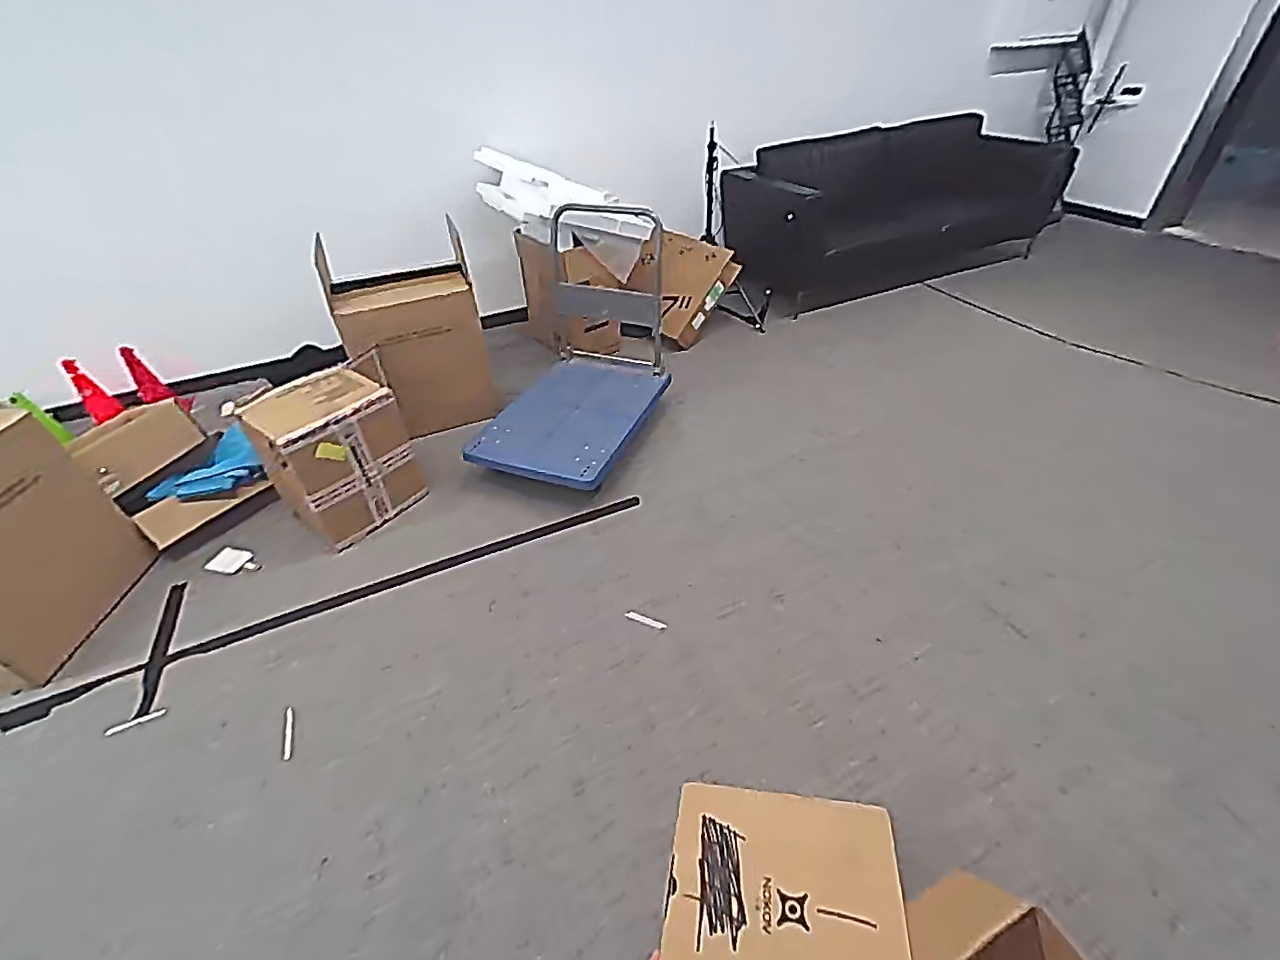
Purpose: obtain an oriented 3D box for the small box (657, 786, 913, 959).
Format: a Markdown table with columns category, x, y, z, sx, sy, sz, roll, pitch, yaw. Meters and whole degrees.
| category | x | y | z | sx | sy | sz | roll | pitch | yaw |
| --- | --- | --- | --- | --- | --- | --- | --- | --- | --- |
| small box | 0.119 | 0.383 | 0.440 | 0.179 | 0.176 | 0.168 | -2 | 33 | 15 |
